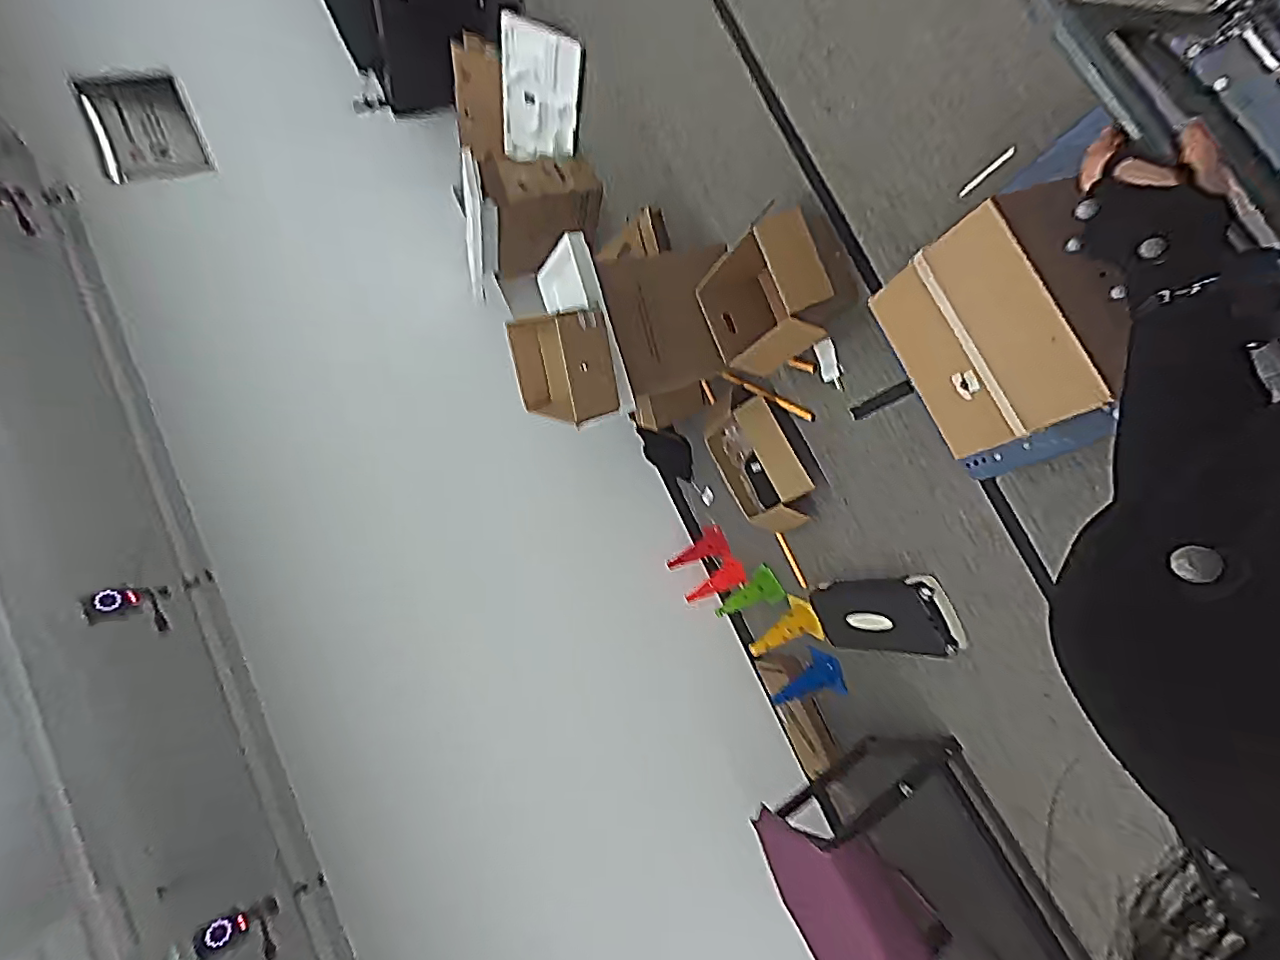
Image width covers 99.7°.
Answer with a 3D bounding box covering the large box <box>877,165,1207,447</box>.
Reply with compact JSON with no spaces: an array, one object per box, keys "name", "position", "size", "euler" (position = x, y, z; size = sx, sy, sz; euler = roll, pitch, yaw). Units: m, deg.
[{"name":"large box","position":[0.781,-0.340,1.089],"size":[0.408,0.320,0.320],"euler":[63,158,8]}]
